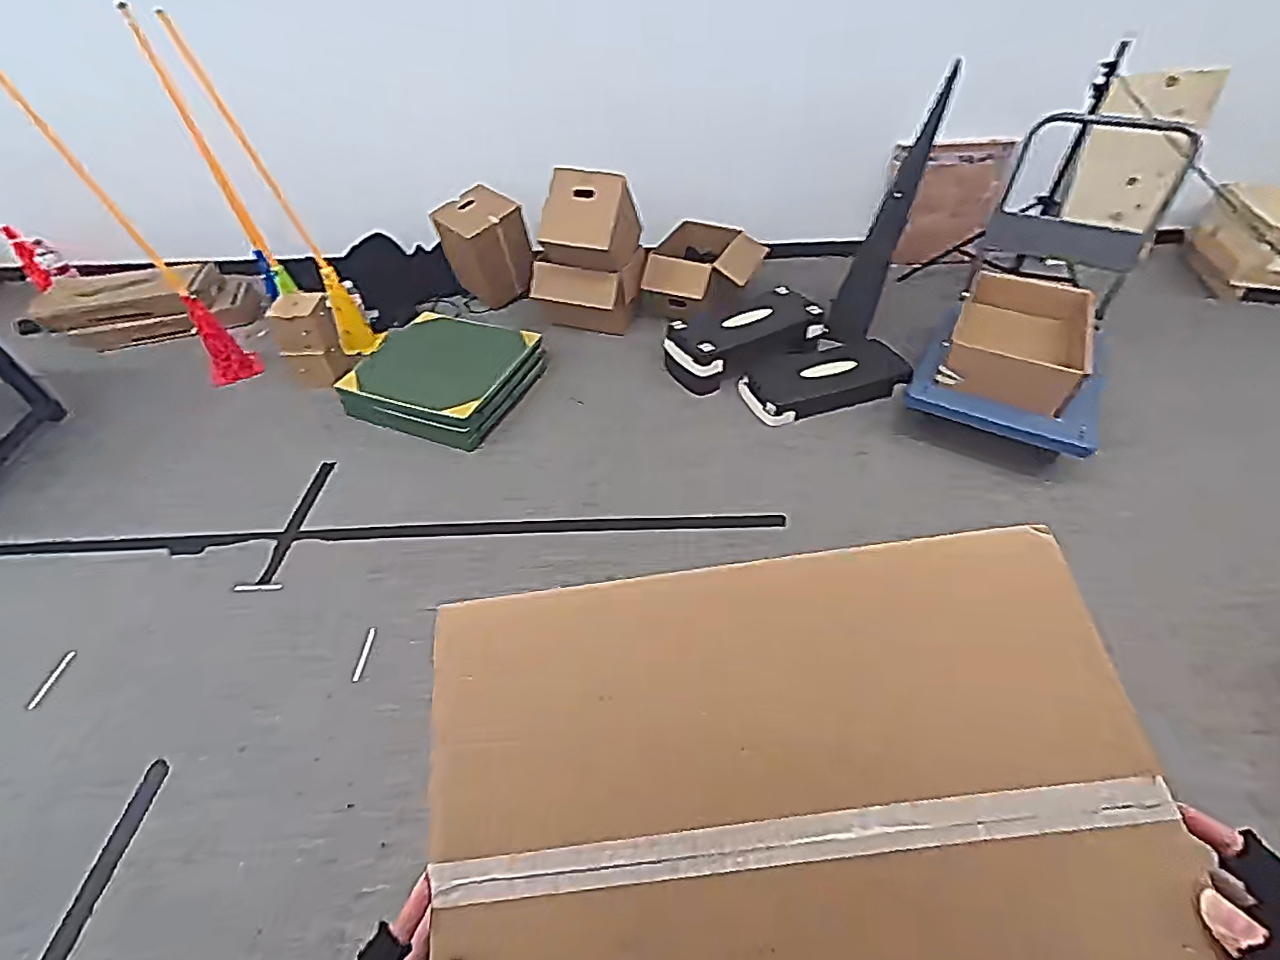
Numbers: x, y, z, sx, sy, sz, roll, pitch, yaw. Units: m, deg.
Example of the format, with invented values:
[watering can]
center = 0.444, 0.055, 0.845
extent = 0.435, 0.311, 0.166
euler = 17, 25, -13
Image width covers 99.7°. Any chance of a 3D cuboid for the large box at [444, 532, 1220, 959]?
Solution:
[large box]
center = 0.096, 0.261, 0.441
extent = 0.408, 0.320, 0.320
euler = -8, 67, 2
